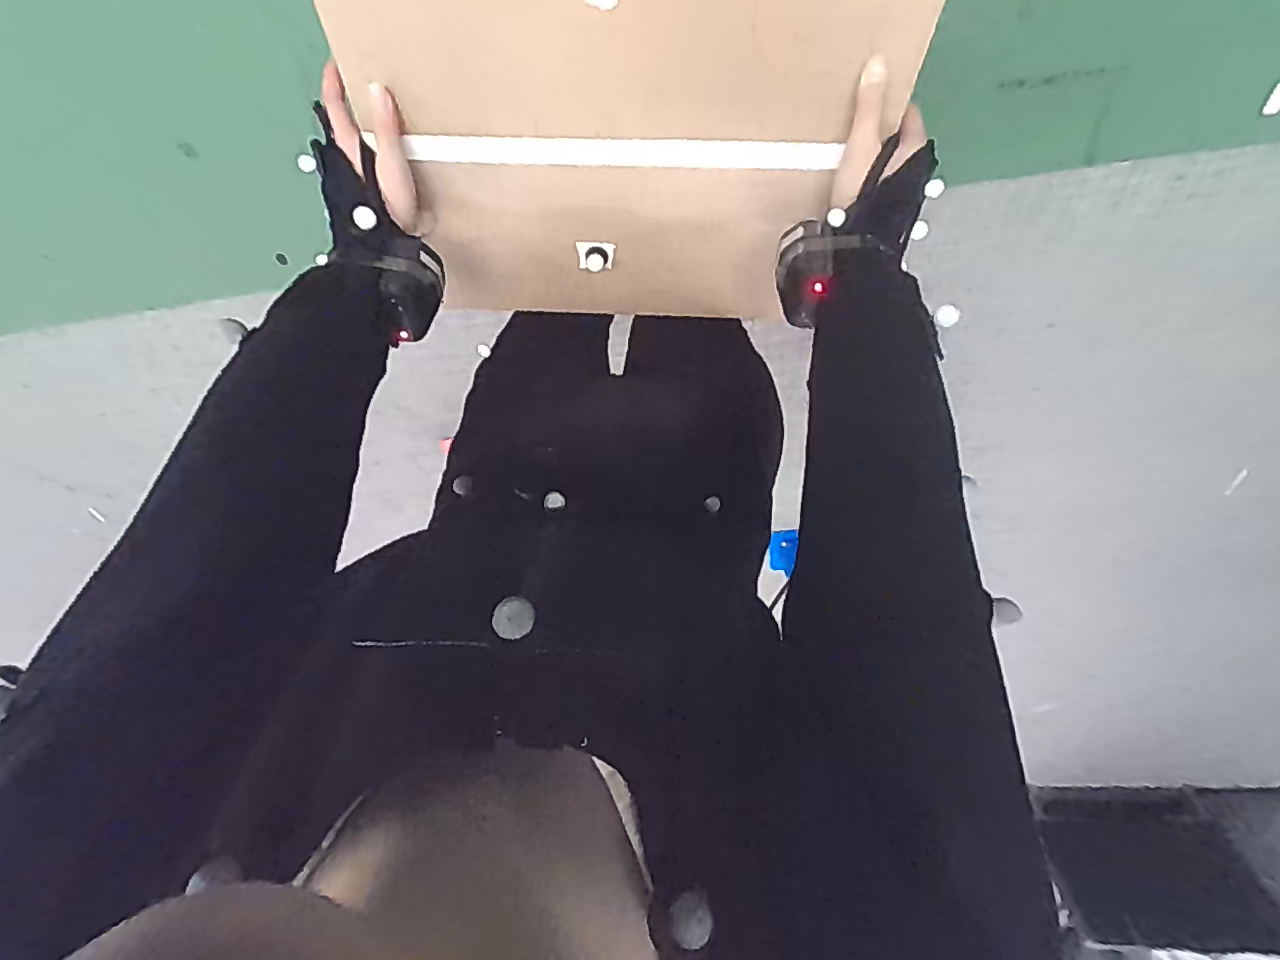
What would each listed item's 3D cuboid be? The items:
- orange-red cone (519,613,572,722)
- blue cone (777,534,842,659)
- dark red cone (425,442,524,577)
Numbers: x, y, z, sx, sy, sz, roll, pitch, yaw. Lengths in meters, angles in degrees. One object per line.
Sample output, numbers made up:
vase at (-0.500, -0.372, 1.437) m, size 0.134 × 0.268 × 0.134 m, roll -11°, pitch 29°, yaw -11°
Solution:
orange-red cone at (-0.378, 0.692, 1.951) m, size 0.199 × 0.360 × 0.198 m, roll 11°, pitch 131°, yaw -4°
blue cone at (0.527, 0.351, 1.600) m, size 0.192 × 0.380 × 0.193 m, roll -5°, pitch 132°, yaw 8°
dark red cone at (-0.453, 0.087, 1.379) m, size 0.202 × 0.394 × 0.201 m, roll -11°, pitch 128°, yaw 13°
